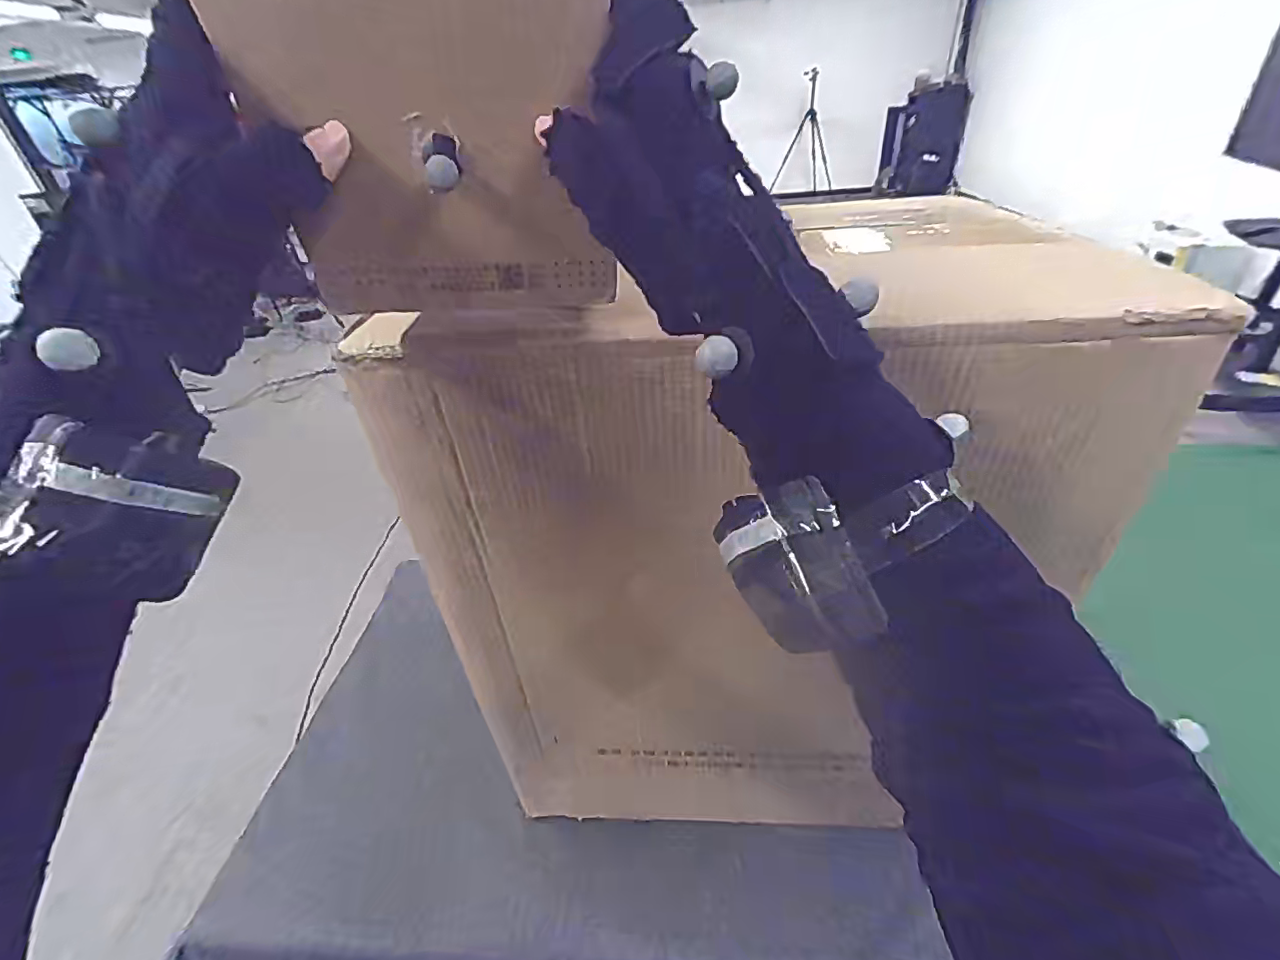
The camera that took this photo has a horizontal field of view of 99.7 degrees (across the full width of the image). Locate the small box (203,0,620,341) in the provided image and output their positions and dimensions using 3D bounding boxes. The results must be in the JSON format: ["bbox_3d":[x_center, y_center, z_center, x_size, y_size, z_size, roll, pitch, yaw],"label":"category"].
[{"bbox_3d":[-0.104,-0.199,0.337,0.168,0.176,0.179,-6,46,-4],"label":"small box"}]
